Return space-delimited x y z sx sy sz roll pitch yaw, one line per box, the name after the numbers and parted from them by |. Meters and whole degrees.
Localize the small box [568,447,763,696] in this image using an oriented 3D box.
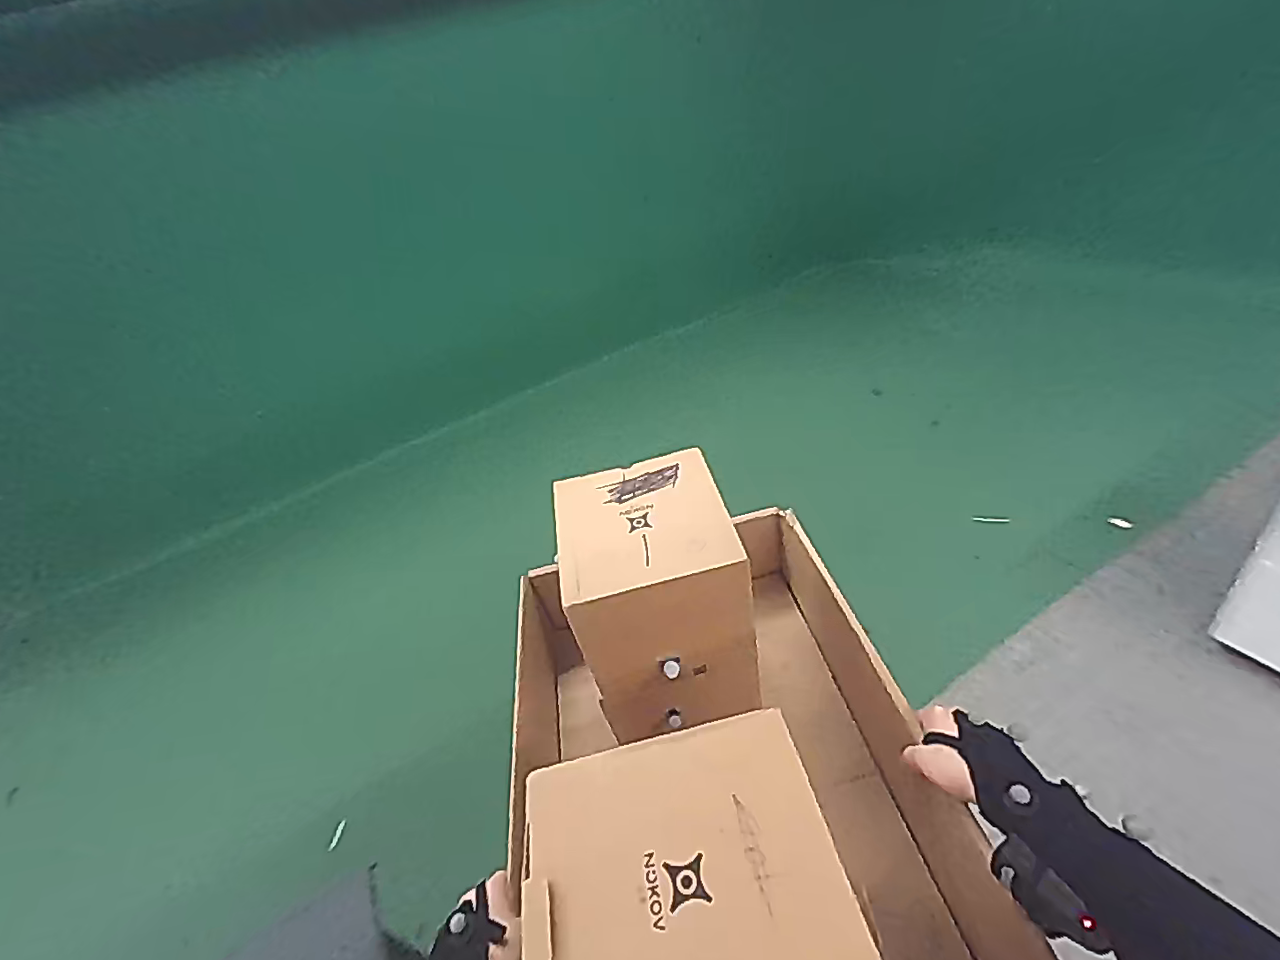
0.025 0.095 0.575 0.168 0.176 0.179 -14 40 0 | small box

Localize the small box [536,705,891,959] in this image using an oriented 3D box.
0.043 0.281 0.348 0.179 0.176 0.168 -14 39 -1 | small box
